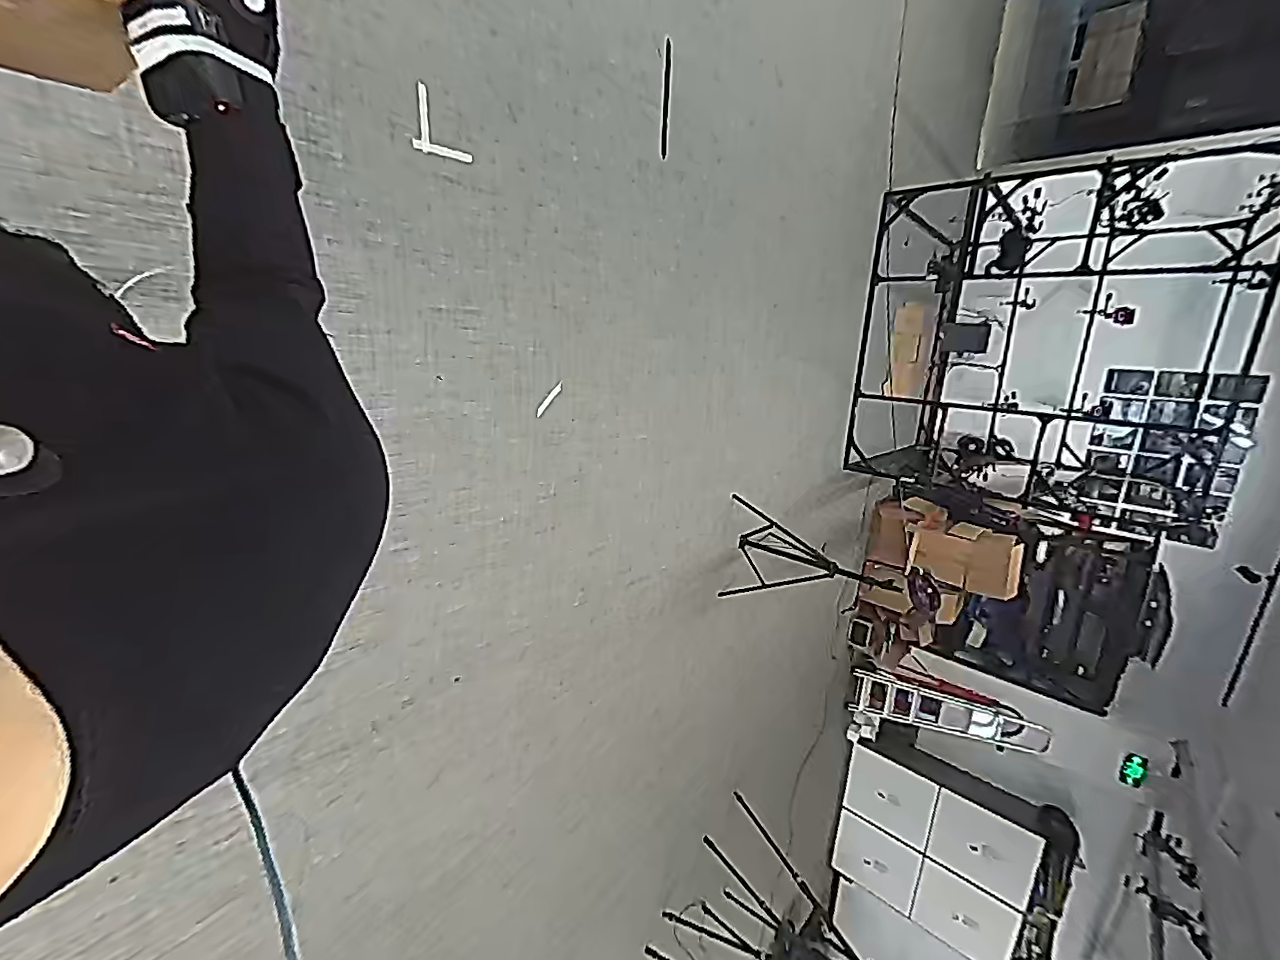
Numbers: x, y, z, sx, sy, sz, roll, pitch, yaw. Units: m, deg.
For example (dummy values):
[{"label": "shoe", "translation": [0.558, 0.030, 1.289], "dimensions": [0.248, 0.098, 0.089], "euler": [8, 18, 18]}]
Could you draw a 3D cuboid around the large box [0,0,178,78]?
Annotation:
[{"label": "large box", "translation": [-0.563, -0.478, 0.283], "dimensions": [0.408, 0.320, 0.320], "euler": [-17, 120, -48]}]
